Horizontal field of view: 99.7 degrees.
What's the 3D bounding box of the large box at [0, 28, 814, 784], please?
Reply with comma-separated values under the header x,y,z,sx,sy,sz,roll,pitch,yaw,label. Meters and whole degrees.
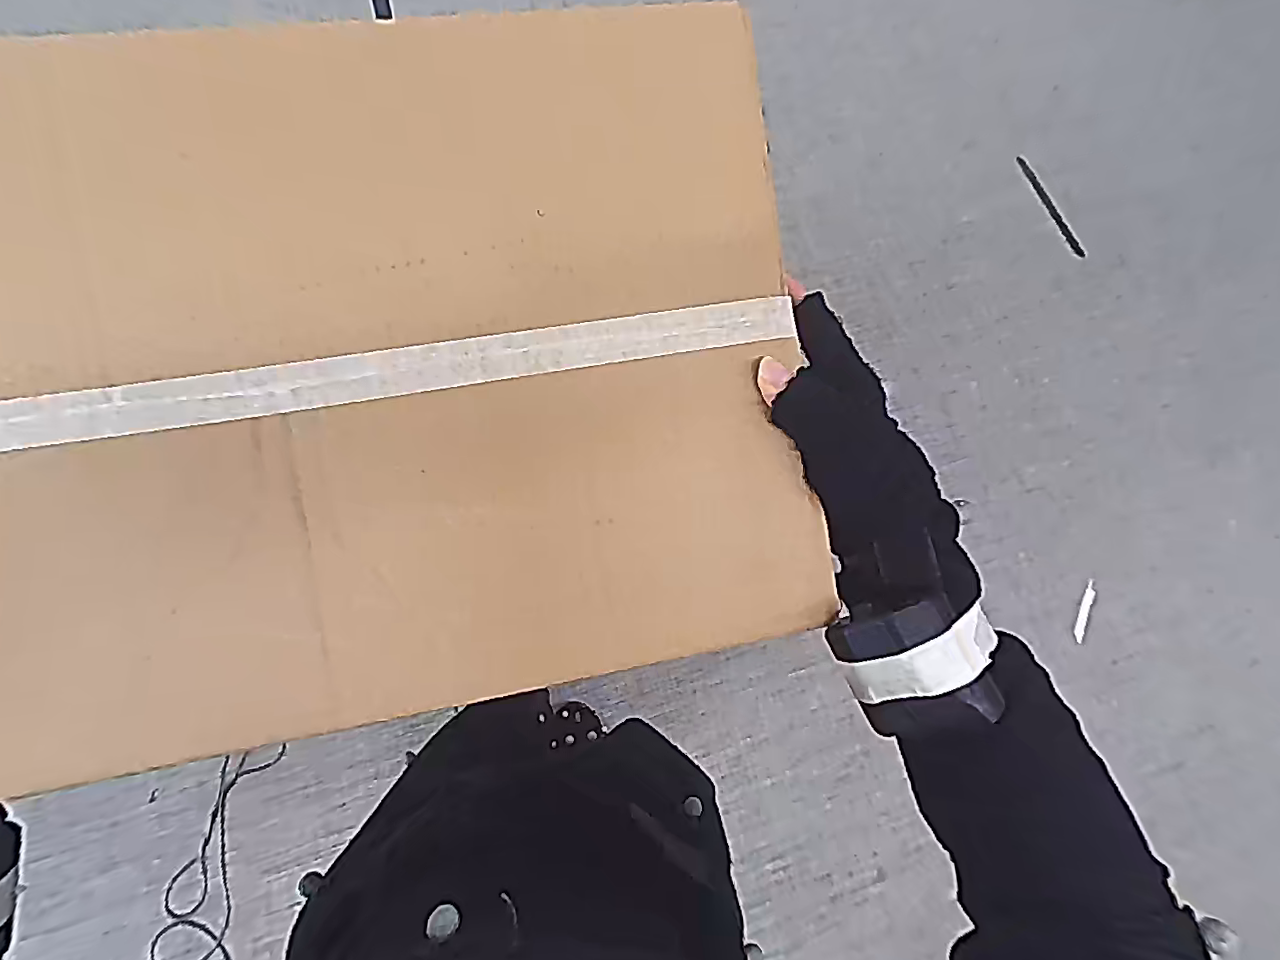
x,y,z,sx,sy,sz,roll,pitch,yaw,label
-0.141,-0.052,0.405,0.408,0.320,0.320,-9,91,-8,large box
